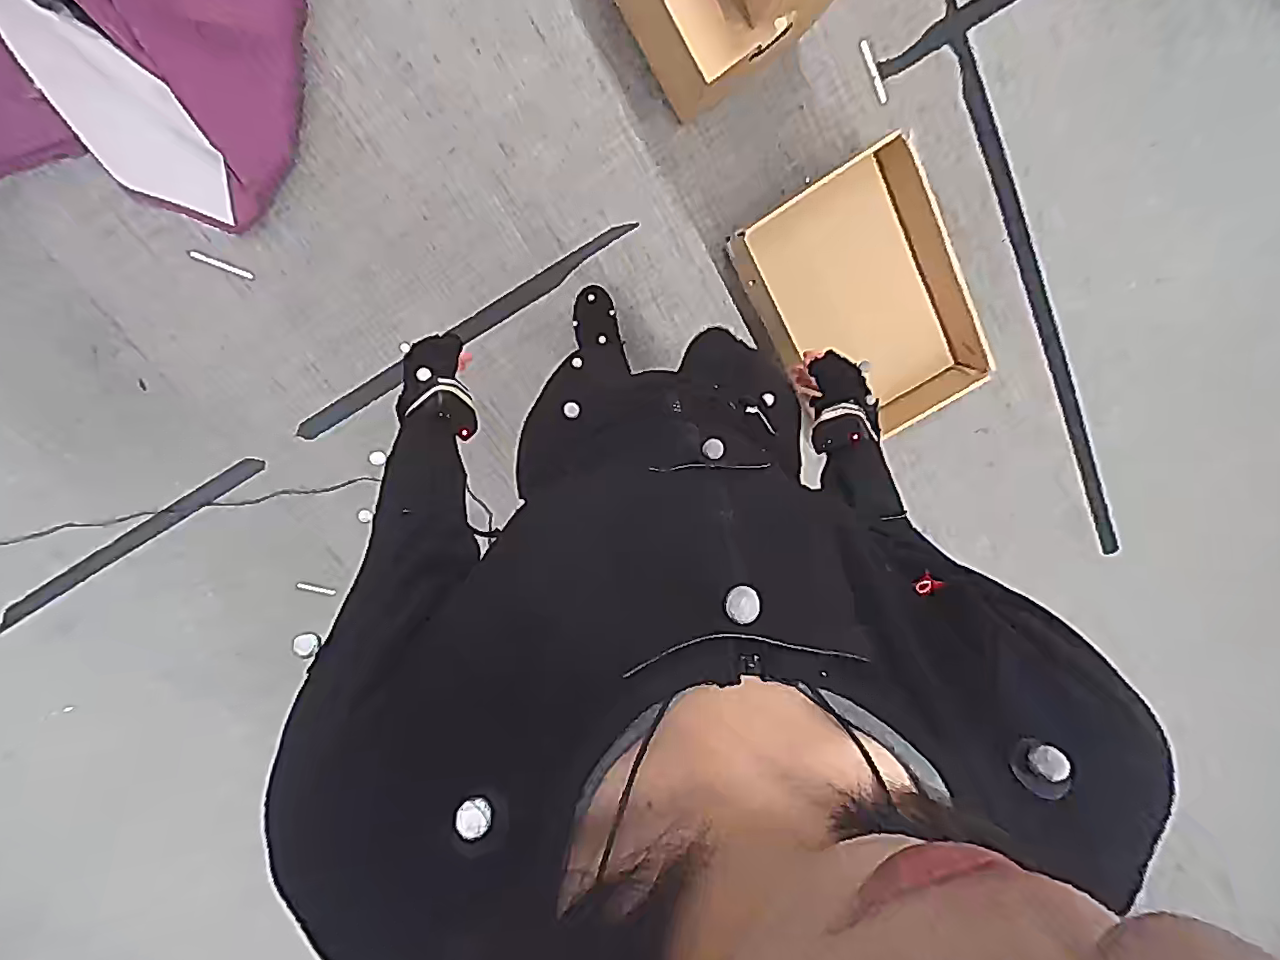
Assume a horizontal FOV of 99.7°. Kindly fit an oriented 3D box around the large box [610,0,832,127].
[{"bbox_3d":[0.125,-0.995,1.032,0.320,0.320,0.408,-34,110,10],"label":"large box"}]
